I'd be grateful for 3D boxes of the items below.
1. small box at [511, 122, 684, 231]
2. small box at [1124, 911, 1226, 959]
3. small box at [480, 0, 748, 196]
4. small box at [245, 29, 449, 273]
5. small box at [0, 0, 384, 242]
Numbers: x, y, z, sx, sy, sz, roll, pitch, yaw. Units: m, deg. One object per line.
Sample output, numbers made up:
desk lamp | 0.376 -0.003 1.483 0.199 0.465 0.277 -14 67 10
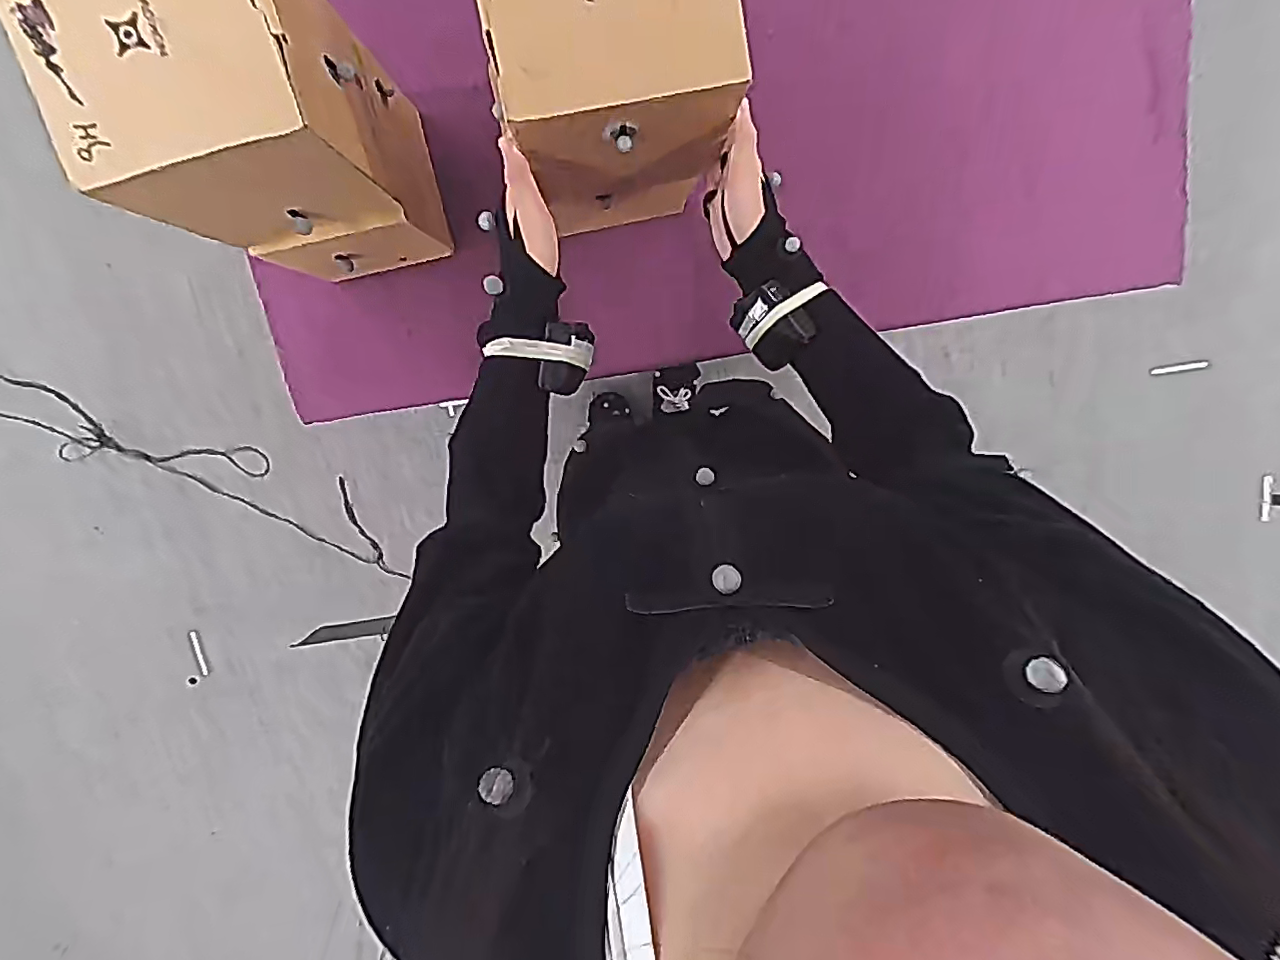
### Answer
small box | -0.046 -0.396 0.604 0.179 0.176 0.168 -11 101 0
small box | 1.576 1.420 1.587 0.168 0.176 0.179 -5 101 -1
small box | -0.028 -0.354 0.439 0.179 0.176 0.168 -11 100 -3
small box | -0.336 -0.343 0.607 0.168 0.176 0.179 -13 101 1
small box | -0.339 -0.318 0.446 0.179 0.176 0.168 -15 100 0
